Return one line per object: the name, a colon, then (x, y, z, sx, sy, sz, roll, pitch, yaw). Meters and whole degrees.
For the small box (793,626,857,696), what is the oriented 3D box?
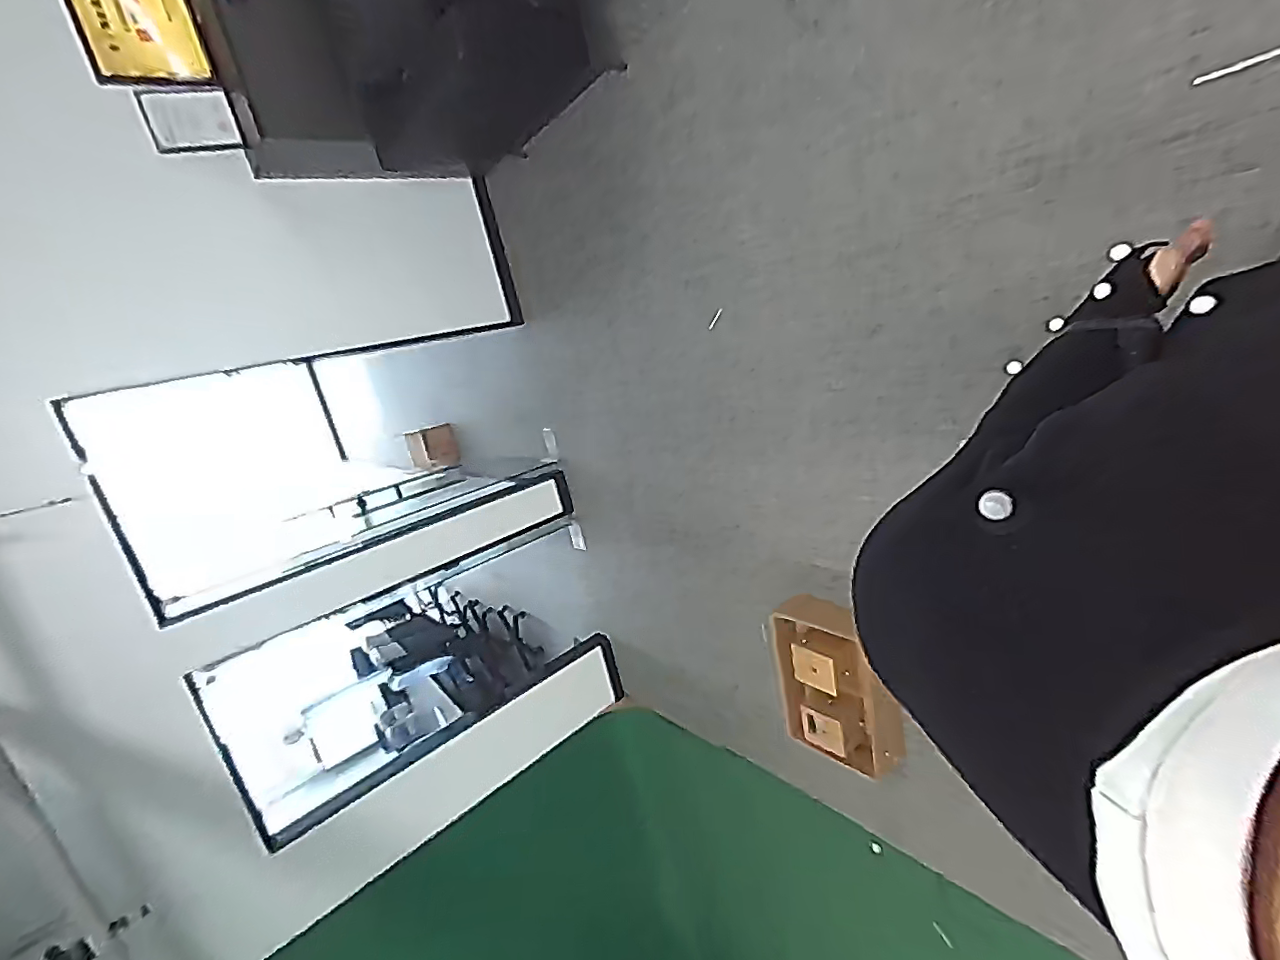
small box: (0.715, 0.686, 2.071, 0.179, 0.176, 0.168, 9, 116, 50)
